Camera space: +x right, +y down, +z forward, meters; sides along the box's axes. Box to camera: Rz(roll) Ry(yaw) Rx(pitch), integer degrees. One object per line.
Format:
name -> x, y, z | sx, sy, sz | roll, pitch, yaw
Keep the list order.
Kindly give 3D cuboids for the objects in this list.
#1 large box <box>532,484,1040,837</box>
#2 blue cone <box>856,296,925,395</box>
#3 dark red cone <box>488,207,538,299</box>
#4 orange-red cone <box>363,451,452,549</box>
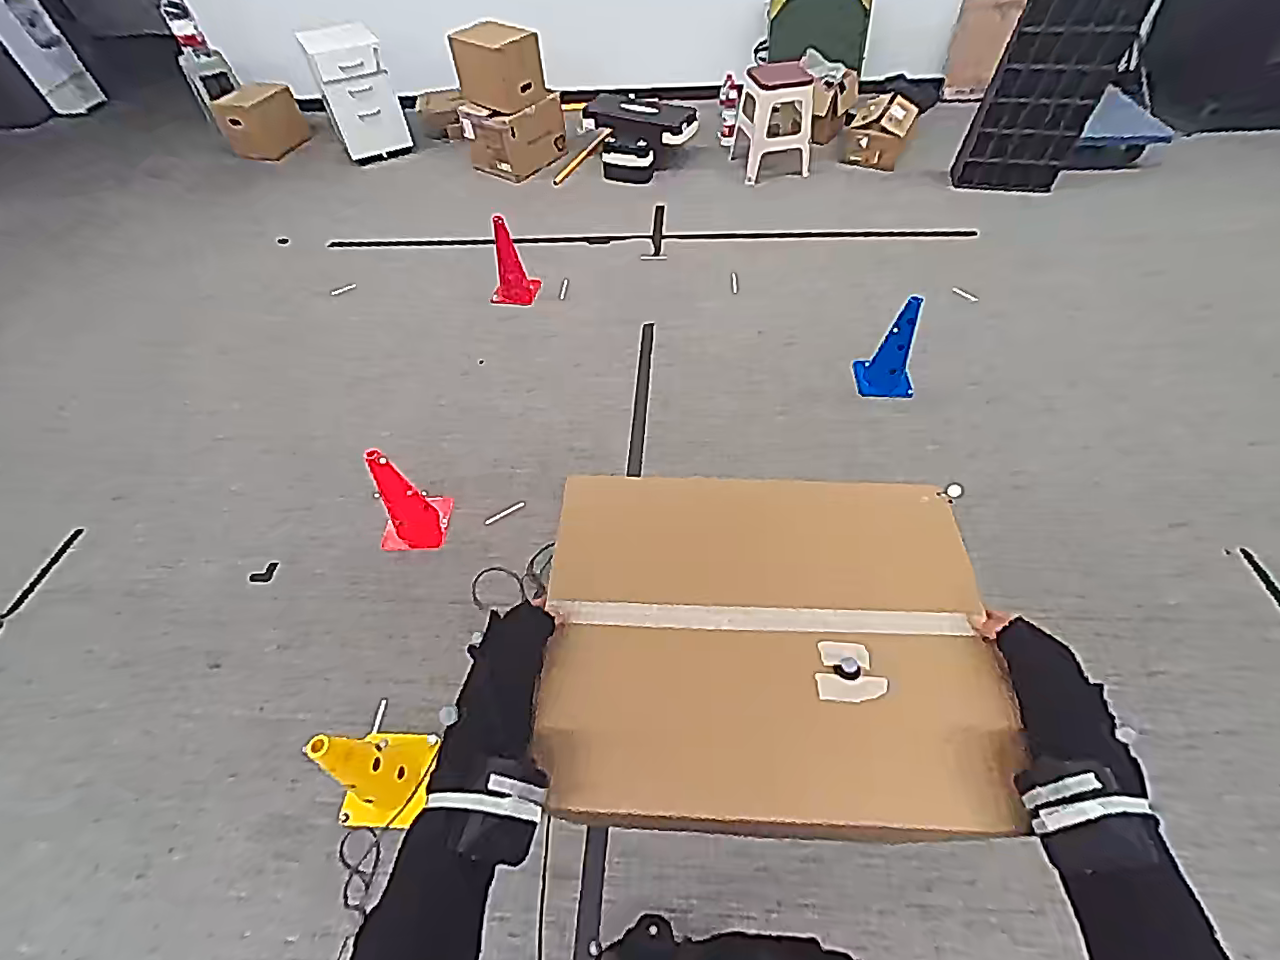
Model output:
large box -> 0.117, 0.218, 0.625 | 0.408, 0.320, 0.320 | 2, 56, 2
blue cone -> 0.938, -0.497, 1.969 | 0.192, 0.380, 0.193 | 4, 53, 5
dark red cone -> -0.596, -1.005, 2.395 | 0.201, 0.394, 0.202 | 6, 53, 7
orange-red cone -> -0.736, 0.040, 1.634 | 0.198, 0.360, 0.199 | -2, 54, 3
